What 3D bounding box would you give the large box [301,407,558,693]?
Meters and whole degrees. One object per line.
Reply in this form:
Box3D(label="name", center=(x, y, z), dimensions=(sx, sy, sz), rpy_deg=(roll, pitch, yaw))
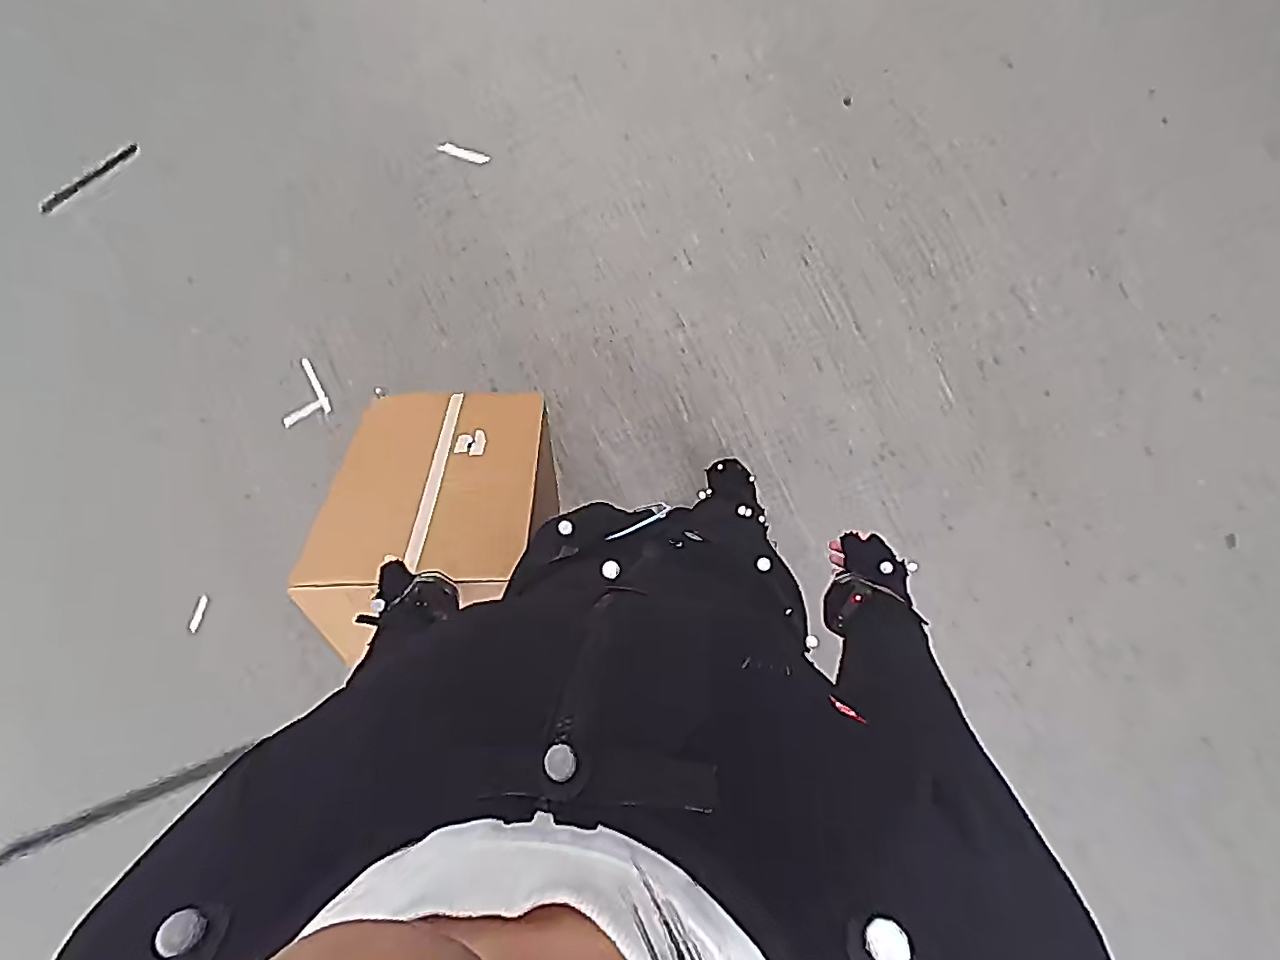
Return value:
Box3D(label="large box", center=(-0.319, 0.116, 0.968), dimensions=(0.320, 0.320, 0.408), rpy_deg=(-1, 45, -4))
